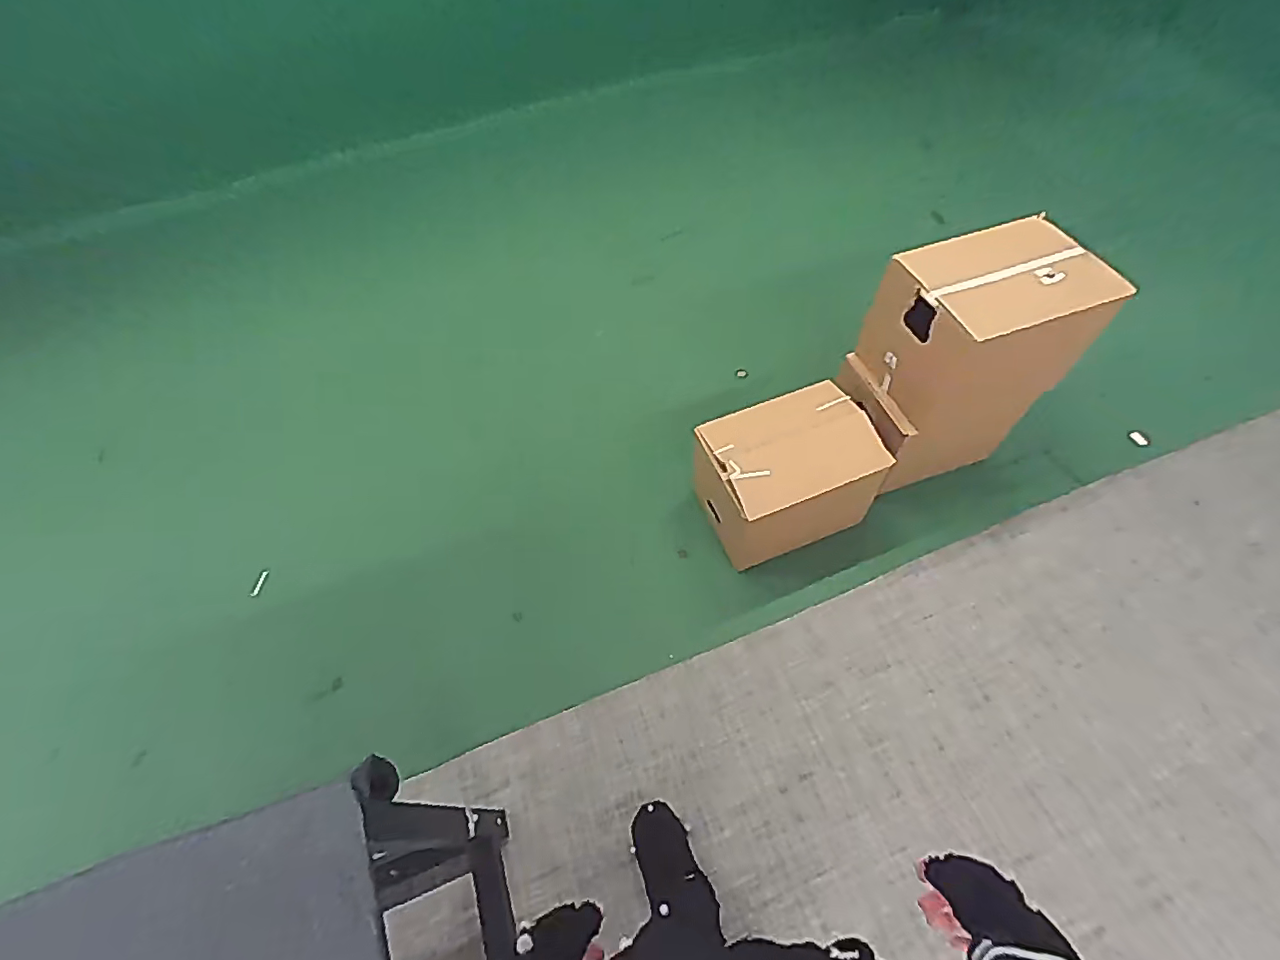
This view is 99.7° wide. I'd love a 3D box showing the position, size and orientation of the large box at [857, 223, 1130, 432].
[{"bbox_3d":[0.833,-0.373,1.342,0.408,0.320,0.320,-17,59,-8],"label":"large box"}]
